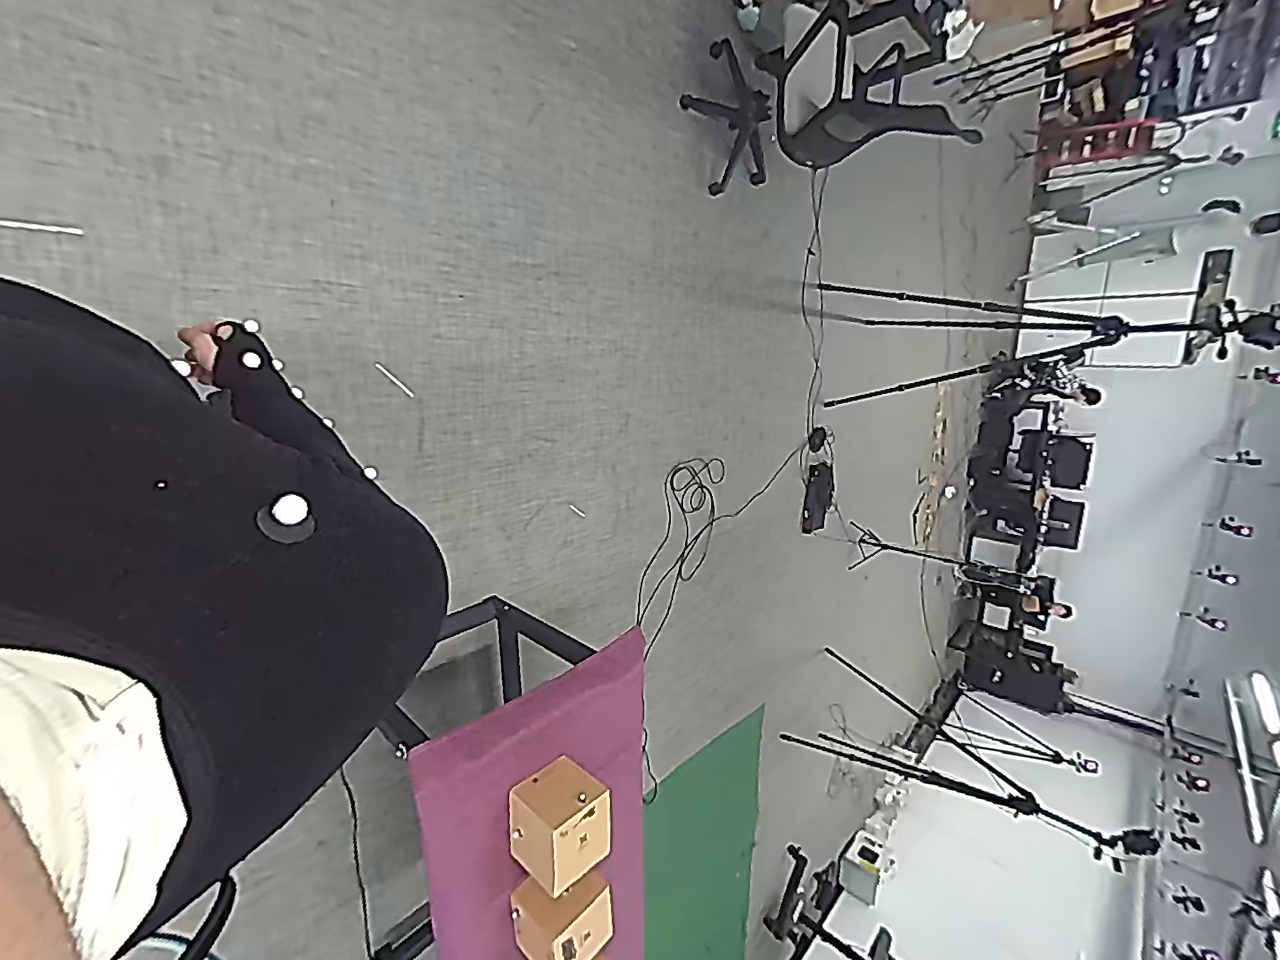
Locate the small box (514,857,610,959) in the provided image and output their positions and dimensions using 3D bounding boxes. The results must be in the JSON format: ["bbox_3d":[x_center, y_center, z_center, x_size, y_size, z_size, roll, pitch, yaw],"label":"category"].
[{"bbox_3d":[-0.196,1.041,1.331,0.179,0.176,0.168,-19,113,-45],"label":"small box"}]

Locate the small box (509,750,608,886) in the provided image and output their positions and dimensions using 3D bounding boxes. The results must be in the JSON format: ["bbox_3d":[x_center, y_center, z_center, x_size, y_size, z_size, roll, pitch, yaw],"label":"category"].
[{"bbox_3d":[-0.194,0.780,1.270,0.168,0.176,0.179,-12,108,-46],"label":"small box"}]
